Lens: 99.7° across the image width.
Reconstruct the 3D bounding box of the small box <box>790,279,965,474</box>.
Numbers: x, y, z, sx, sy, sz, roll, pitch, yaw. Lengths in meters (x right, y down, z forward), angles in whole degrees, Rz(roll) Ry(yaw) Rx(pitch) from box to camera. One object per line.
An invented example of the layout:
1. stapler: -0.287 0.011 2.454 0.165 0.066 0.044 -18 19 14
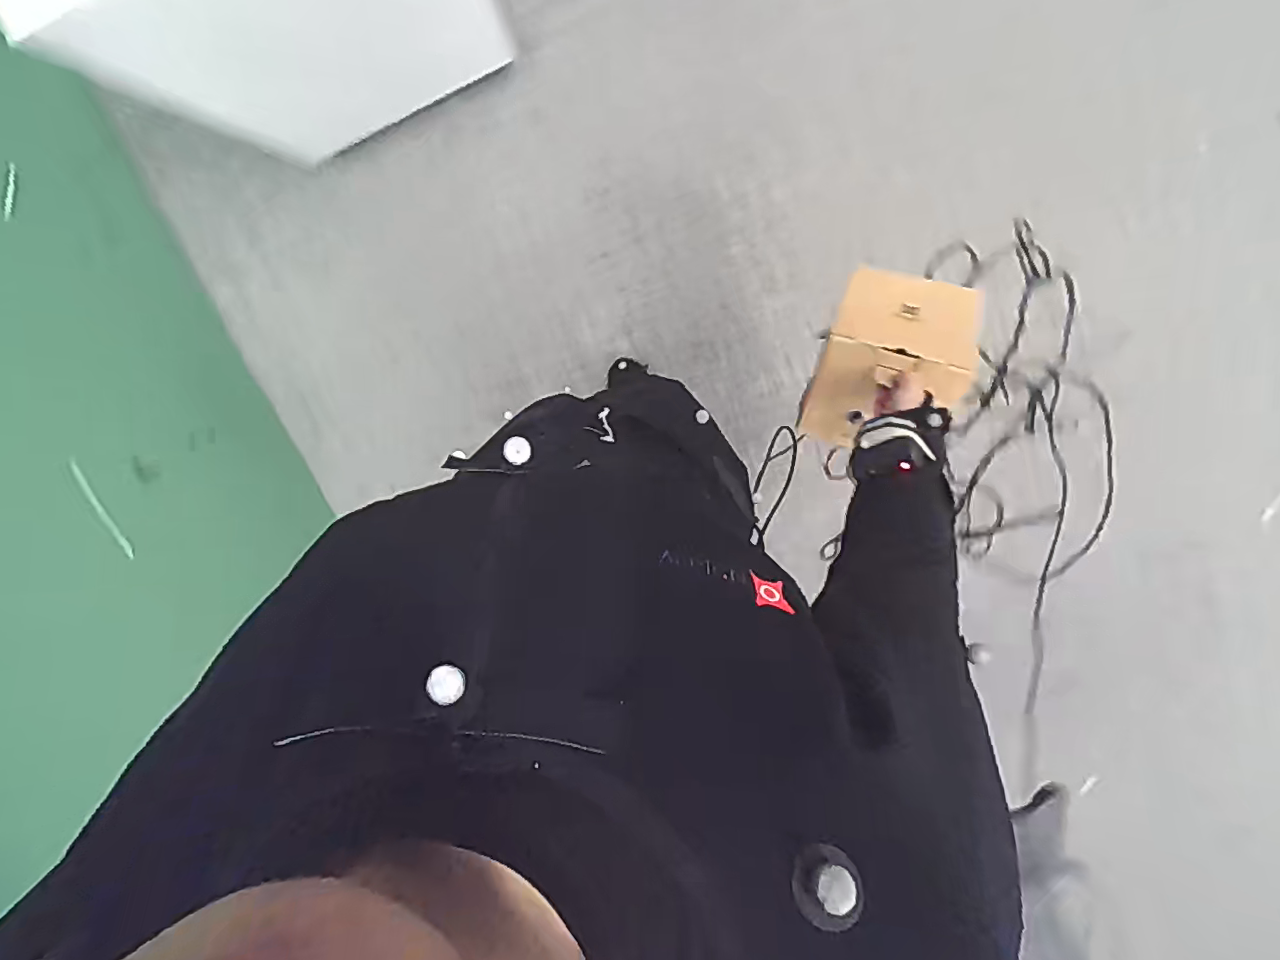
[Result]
1. small box: 0.317 -0.140 0.740 0.168 0.179 0.176 19 143 12
